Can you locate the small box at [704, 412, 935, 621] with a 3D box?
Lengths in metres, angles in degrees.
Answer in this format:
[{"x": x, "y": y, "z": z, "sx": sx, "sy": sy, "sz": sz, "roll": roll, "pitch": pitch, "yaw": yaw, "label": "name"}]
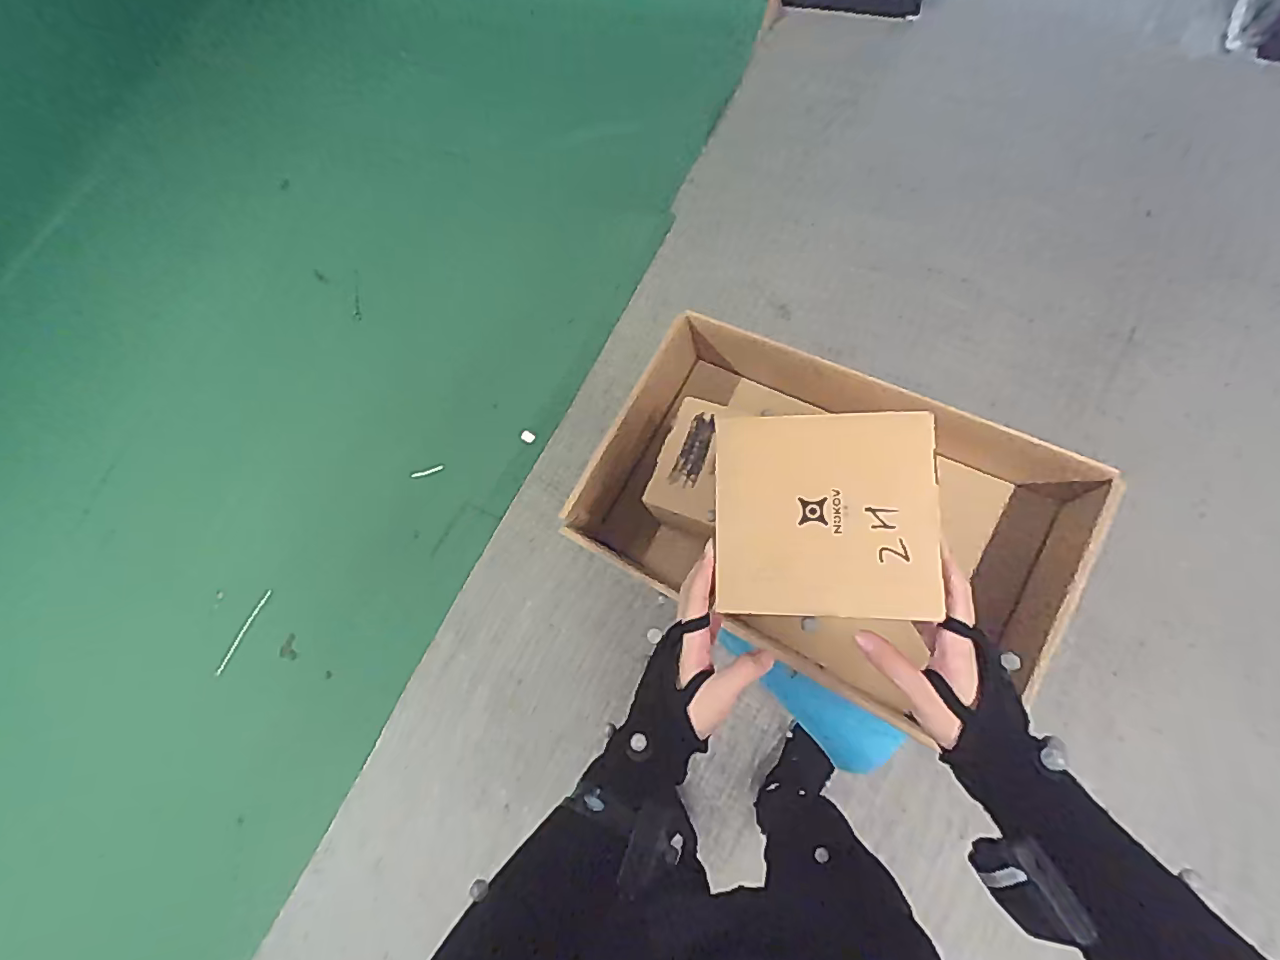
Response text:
[{"x": 0.156, "y": 0.039, "z": 0.512, "sx": 0.179, "sy": 0.176, "sz": 0.168, "roll": -1, "pitch": 81, "yaw": 11, "label": "small box"}]
